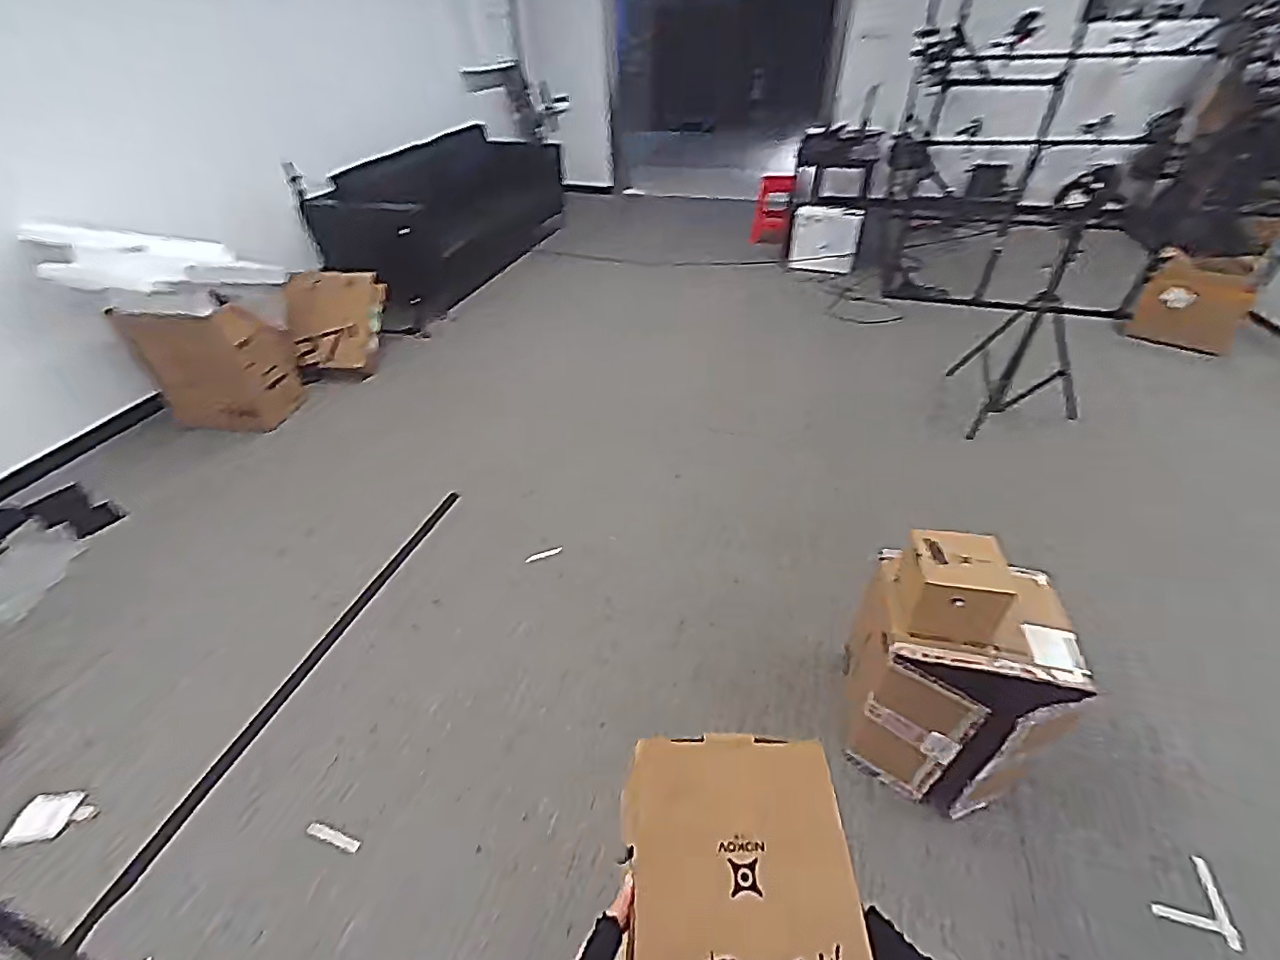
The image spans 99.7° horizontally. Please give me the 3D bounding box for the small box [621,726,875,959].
[{"bbox_3d":[0.072,0.332,0.463,0.168,0.176,0.179,4,47,-4],"label":"small box"}]

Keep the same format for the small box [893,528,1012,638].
[{"bbox_3d":[0.676,0.229,1.198,0.179,0.176,0.168,5,39,10],"label":"small box"}]
